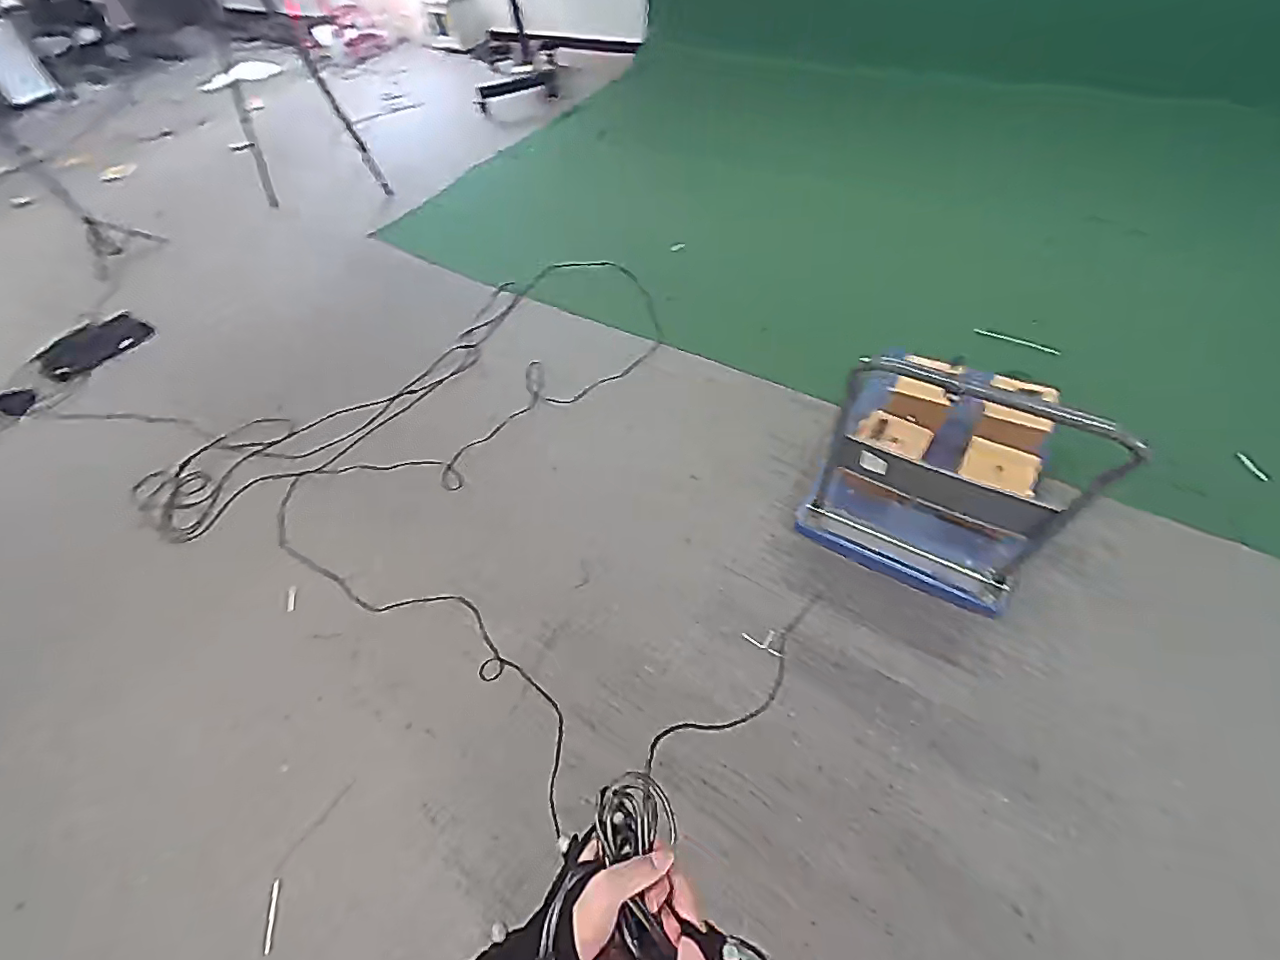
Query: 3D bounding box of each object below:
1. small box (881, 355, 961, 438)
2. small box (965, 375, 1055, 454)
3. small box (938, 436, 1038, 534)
[{"bbox_3d":[0.881,-0.260,1.709,0.168,0.176,0.179,21,60,21],"label":"small box"},{"bbox_3d":[1.101,-0.179,1.618,0.168,0.176,0.179,20,61,22],"label":"small box"},{"bbox_3d":[0.957,0.016,1.498,0.168,0.176,0.179,25,62,24],"label":"small box"}]
